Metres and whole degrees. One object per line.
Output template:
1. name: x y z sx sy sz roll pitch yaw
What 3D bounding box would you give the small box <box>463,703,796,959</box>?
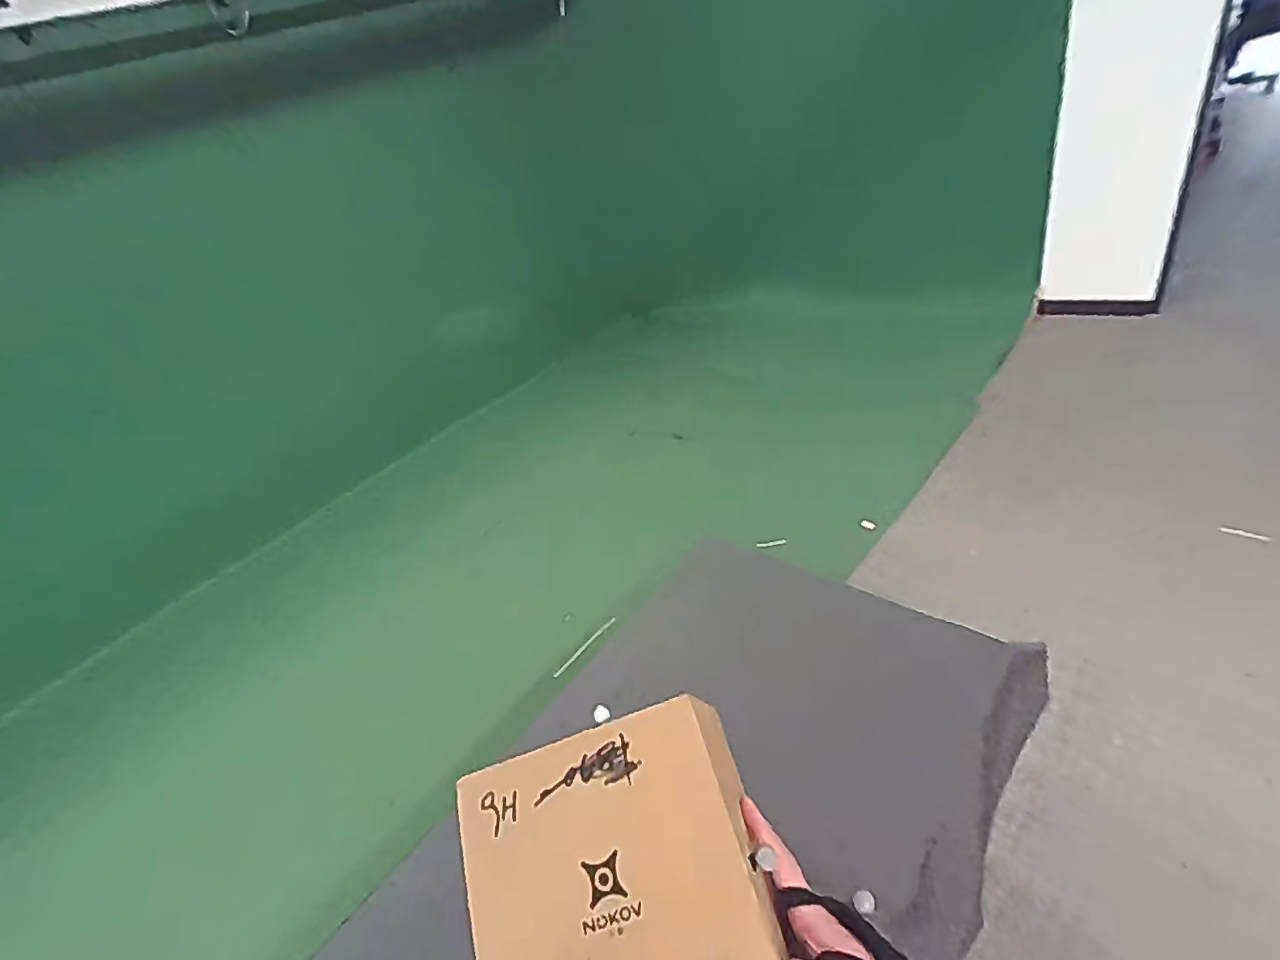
1. small box: 0.002 0.271 0.377 0.168 0.176 0.179 -21 62 3
